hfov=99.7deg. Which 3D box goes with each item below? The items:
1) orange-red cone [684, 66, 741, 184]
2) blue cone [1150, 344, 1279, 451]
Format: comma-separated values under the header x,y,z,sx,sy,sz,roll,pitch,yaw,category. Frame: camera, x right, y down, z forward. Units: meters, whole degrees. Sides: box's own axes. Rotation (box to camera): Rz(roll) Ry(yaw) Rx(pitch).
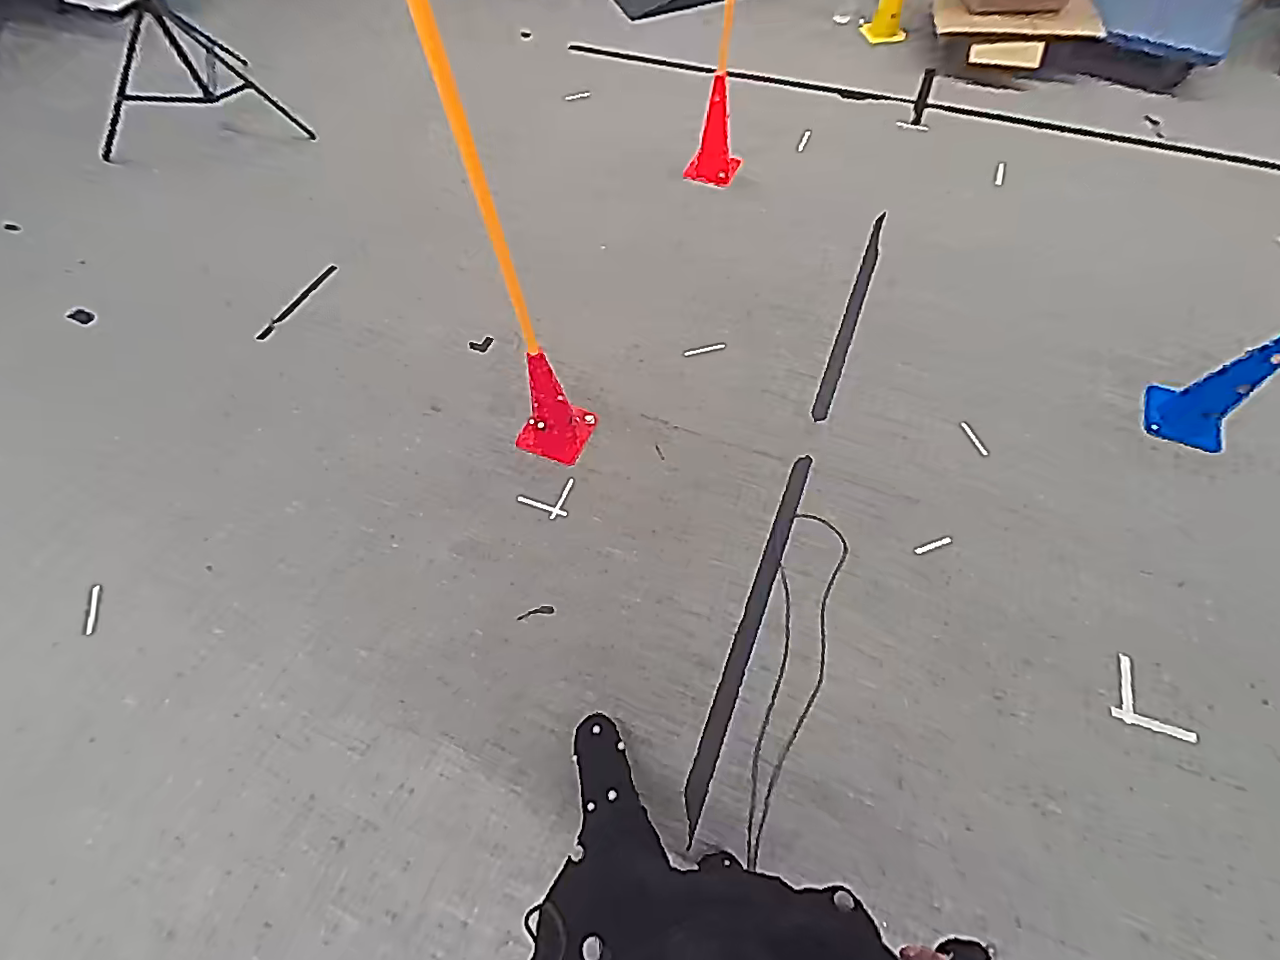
x,y,z,sx,sy,sz,roll,pitch,yaw,category
0.296,-1.389,2.091,0.198,0.360,0.199,23,64,13,orange-red cone
1.617,-0.262,1.462,0.193,0.380,0.192,23,65,14,blue cone
